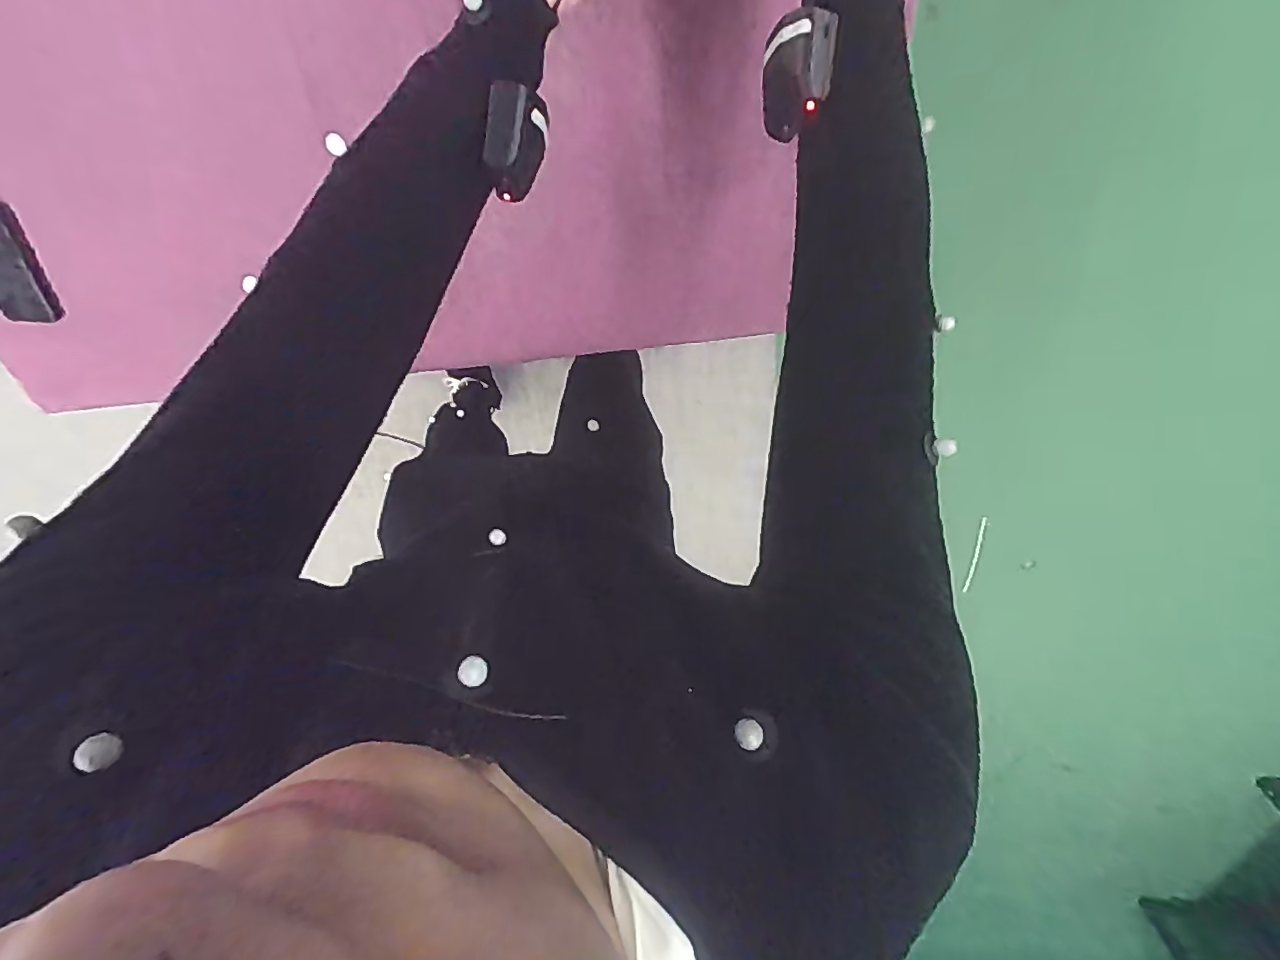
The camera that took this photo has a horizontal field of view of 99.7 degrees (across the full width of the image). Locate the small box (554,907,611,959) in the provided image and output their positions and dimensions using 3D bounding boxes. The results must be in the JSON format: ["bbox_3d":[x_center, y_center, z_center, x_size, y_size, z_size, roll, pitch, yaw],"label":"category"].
[{"bbox_3d":[-0.194,1.617,1.871,0.168,0.176,0.179,-2,120,4],"label":"small box"}]
